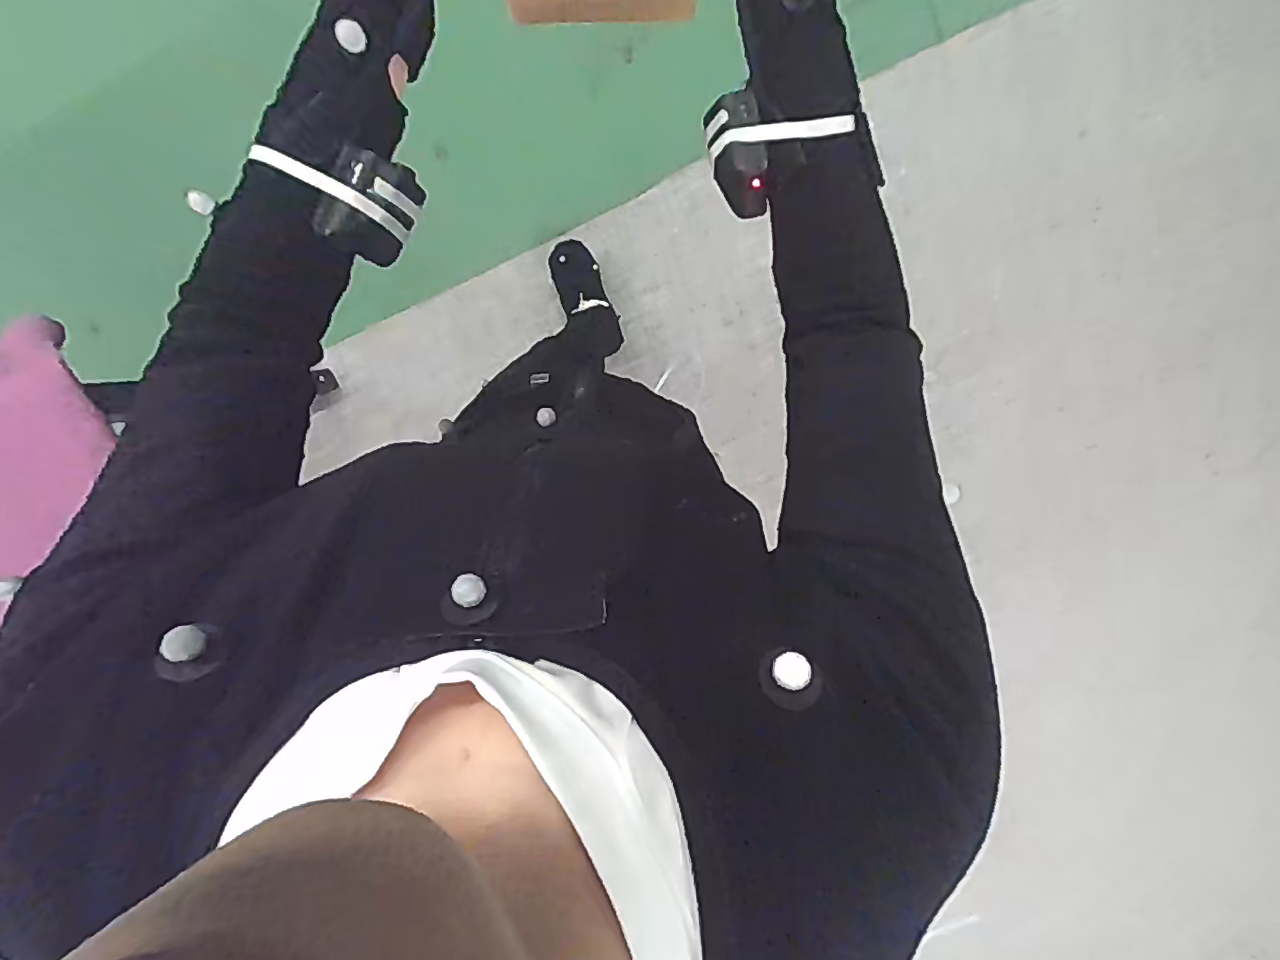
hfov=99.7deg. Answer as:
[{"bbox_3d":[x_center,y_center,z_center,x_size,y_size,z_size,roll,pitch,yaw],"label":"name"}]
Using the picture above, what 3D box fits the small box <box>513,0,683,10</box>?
[{"bbox_3d":[-0.035,-0.493,0.404,0.179,0.176,0.168,-2,105,-2],"label":"small box"}]
